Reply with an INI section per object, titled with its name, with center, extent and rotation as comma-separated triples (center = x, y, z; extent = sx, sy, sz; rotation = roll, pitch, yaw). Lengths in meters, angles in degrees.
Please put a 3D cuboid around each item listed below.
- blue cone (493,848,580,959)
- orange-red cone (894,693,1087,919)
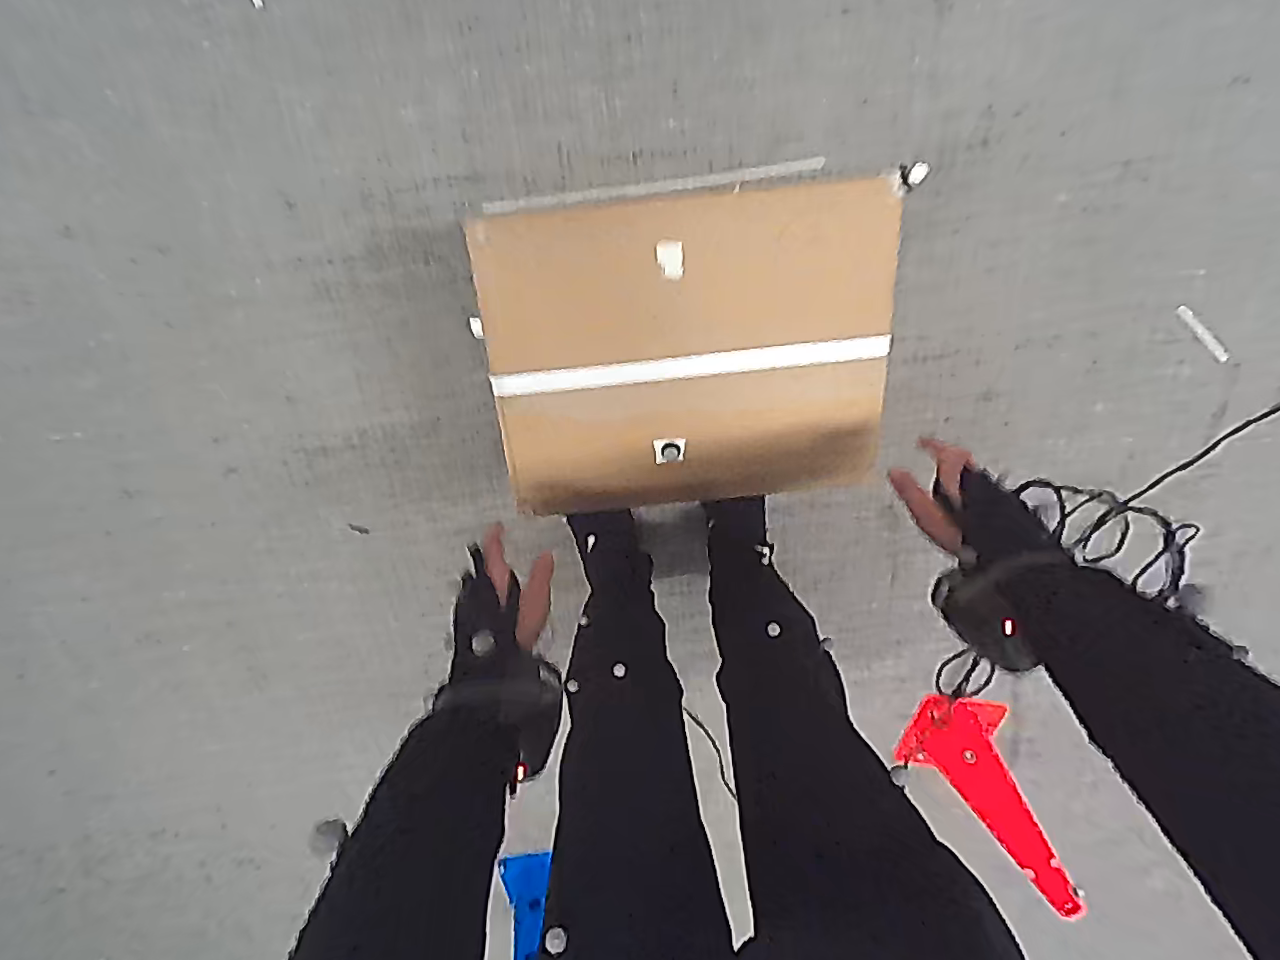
[blue cone]
center = -0.244, 1.034, 1.171
extent = 0.192, 0.380, 0.193
rotation = -7, 112, 1
[orange-red cone]
center = 0.682, 0.613, 1.016
extent = 0.199, 0.360, 0.198
rotation = 11, 113, -8
